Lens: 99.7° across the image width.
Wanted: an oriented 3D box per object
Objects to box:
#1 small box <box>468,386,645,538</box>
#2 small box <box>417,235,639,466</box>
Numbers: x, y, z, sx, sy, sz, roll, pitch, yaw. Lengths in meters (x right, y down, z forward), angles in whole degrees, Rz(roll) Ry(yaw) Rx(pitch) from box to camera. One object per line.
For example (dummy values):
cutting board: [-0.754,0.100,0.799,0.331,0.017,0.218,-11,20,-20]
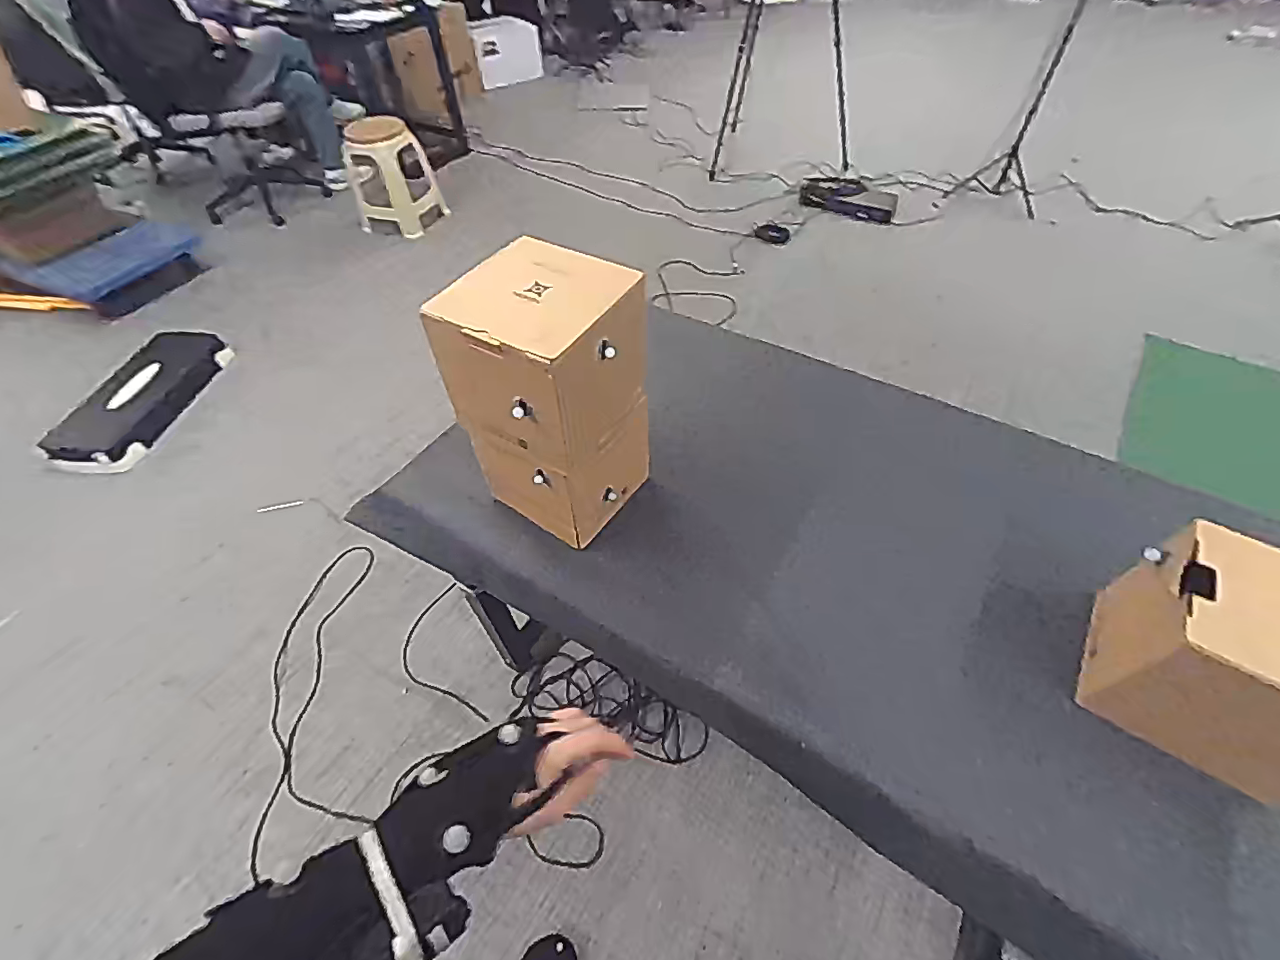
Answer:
small box: [-0.109,-0.049,0.748,0.179,0.176,0.168,28,56,22]
small box: [-0.110,-0.145,0.617,0.168,0.176,0.179,24,54,17]
